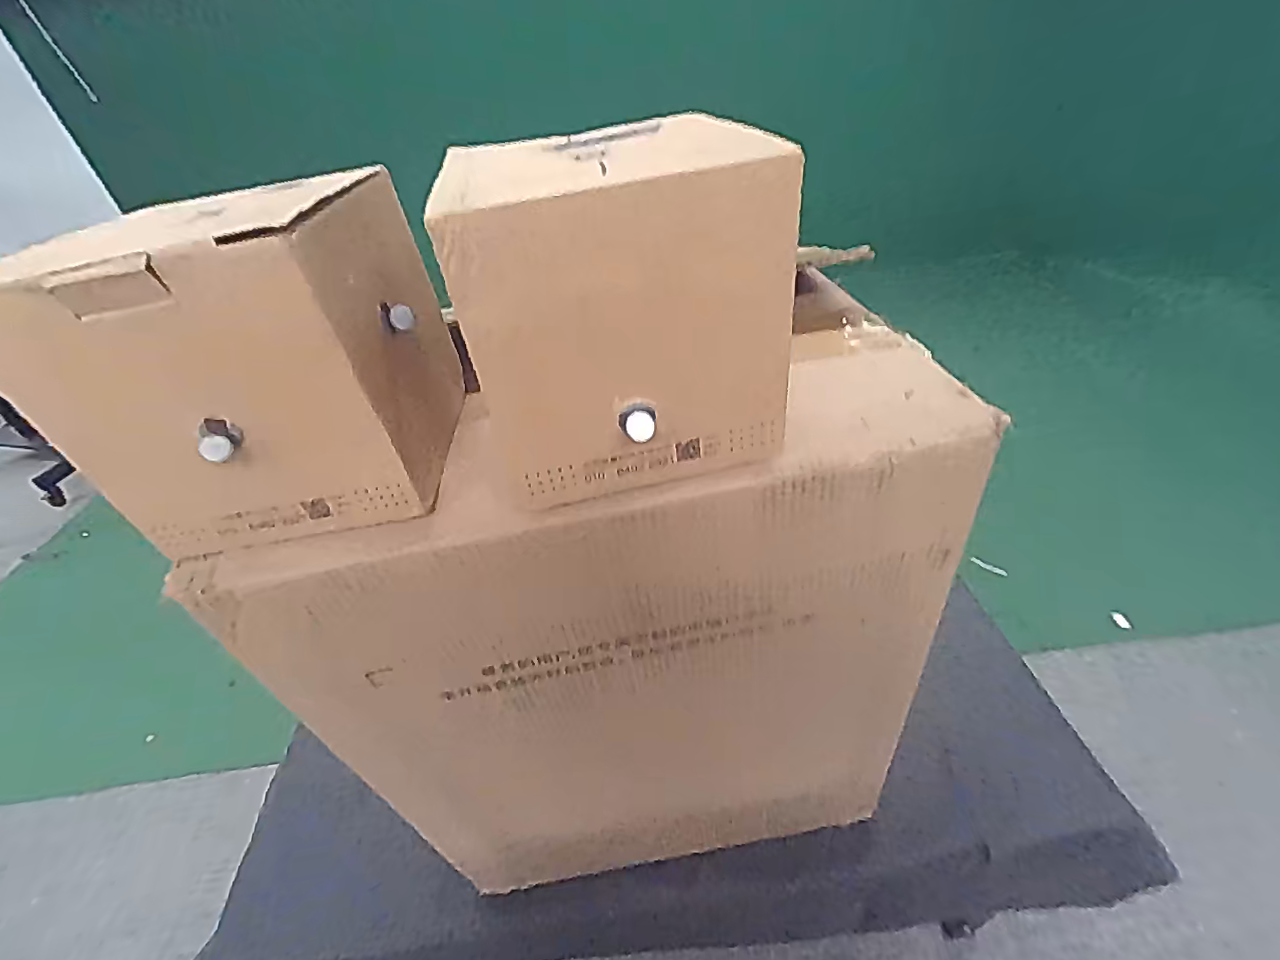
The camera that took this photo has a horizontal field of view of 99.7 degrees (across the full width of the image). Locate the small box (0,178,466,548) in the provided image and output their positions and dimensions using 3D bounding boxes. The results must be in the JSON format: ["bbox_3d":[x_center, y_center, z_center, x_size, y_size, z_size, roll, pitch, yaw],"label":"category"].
[{"bbox_3d":[-0.227,-0.073,0.351,0.168,0.176,0.179,-11,39,0],"label":"small box"}]

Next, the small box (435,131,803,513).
[{"bbox_3d":[-0.015,-0.106,0.347,0.168,0.176,0.179,-13,40,-5],"label":"small box"}]
